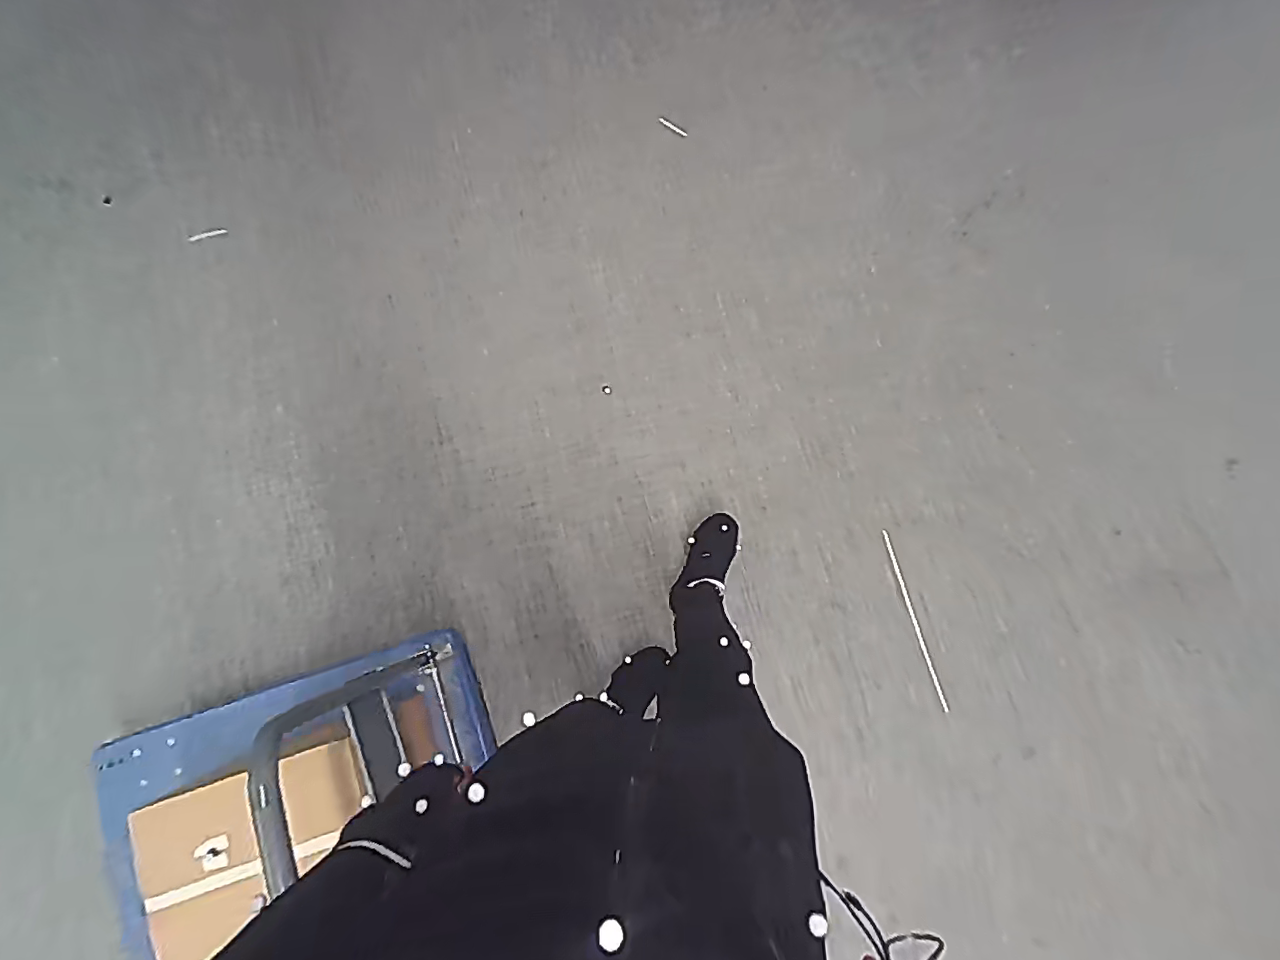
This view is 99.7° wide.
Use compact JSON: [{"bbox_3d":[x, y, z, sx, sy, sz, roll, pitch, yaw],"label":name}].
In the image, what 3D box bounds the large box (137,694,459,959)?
[{"bbox_3d":[-0.640,0.676,1.075,0.408,0.320,0.320,-18,82,-1],"label":"large box"}]
